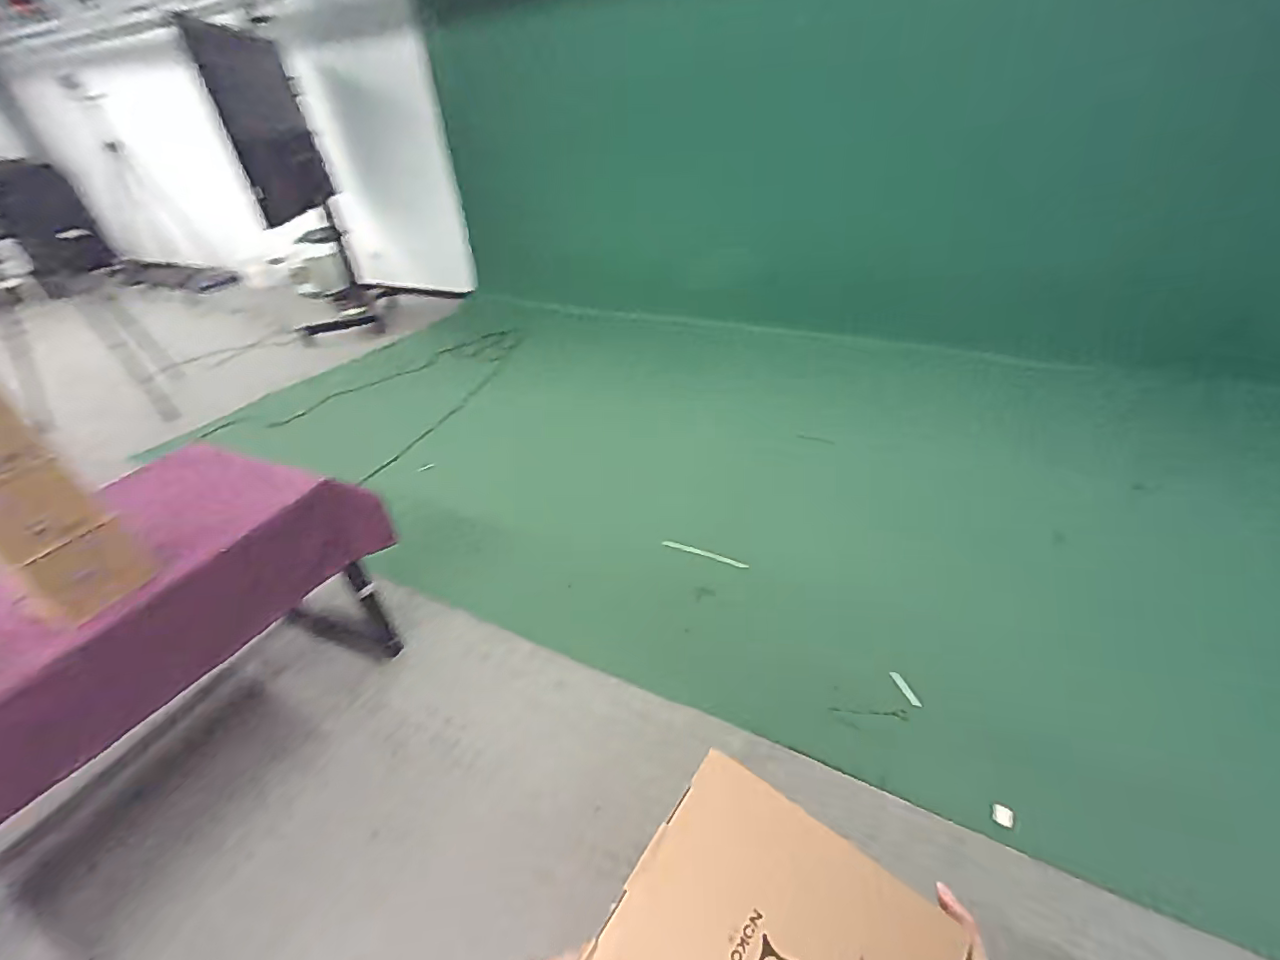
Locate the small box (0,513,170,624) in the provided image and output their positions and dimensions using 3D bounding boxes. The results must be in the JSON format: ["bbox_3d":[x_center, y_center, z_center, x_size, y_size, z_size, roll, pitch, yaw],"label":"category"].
[{"bbox_3d":[-1.172,0.177,1.151,0.168,0.176,0.179,11,39,22],"label":"small box"}]

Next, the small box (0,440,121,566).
[{"bbox_3d":[-1.192,0.044,1.058,0.179,0.176,0.168,13,38,23],"label":"small box"}]
